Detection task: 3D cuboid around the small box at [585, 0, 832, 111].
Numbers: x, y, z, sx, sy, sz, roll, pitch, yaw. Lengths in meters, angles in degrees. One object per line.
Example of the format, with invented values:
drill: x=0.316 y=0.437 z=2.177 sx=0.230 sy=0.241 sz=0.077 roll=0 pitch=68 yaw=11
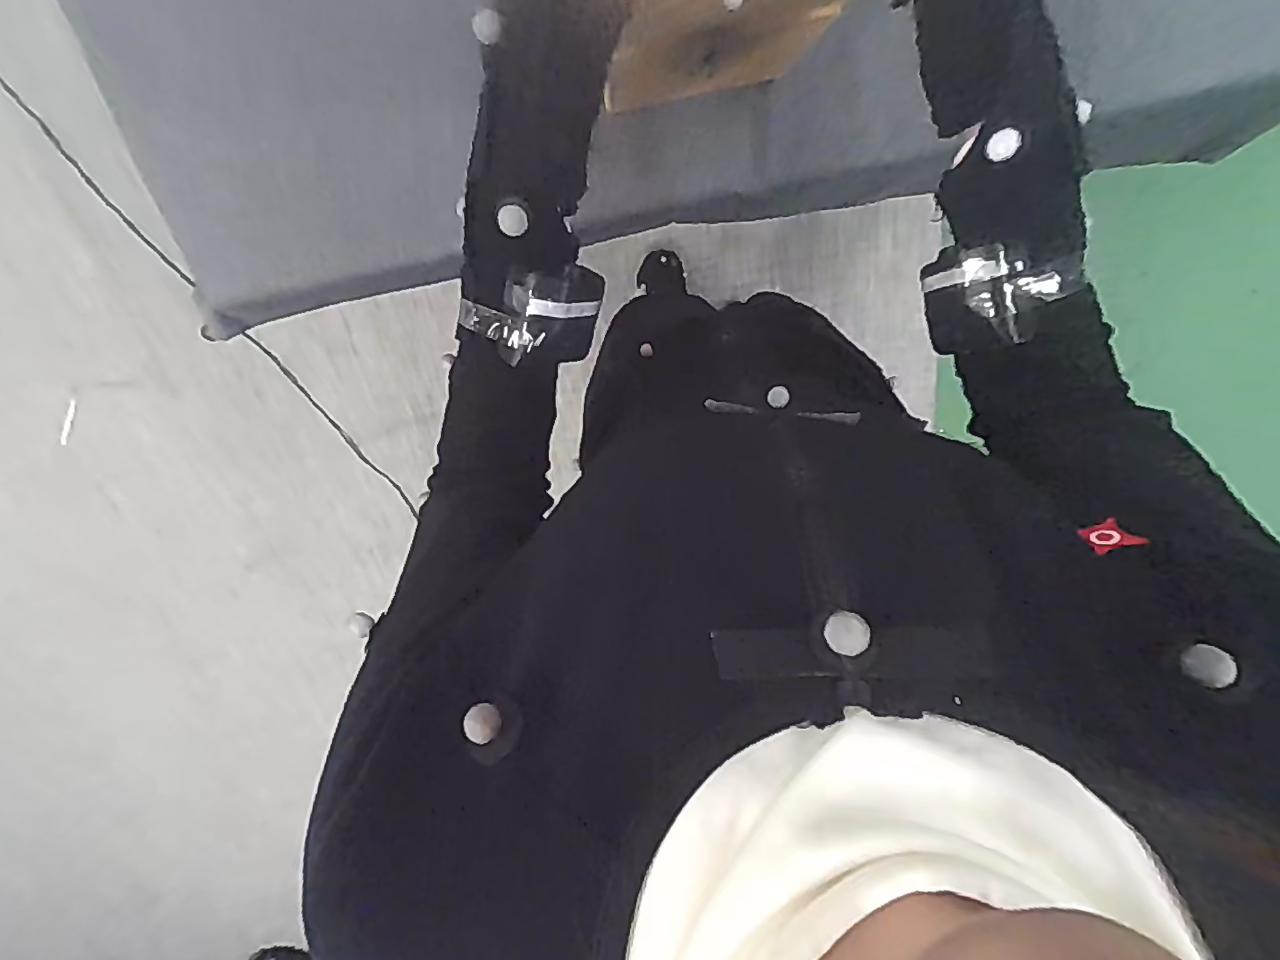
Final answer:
small box: x=0.038 y=-0.423 z=0.437 sx=0.179 sy=0.176 sz=0.168 roll=-11 pitch=114 yaw=2
